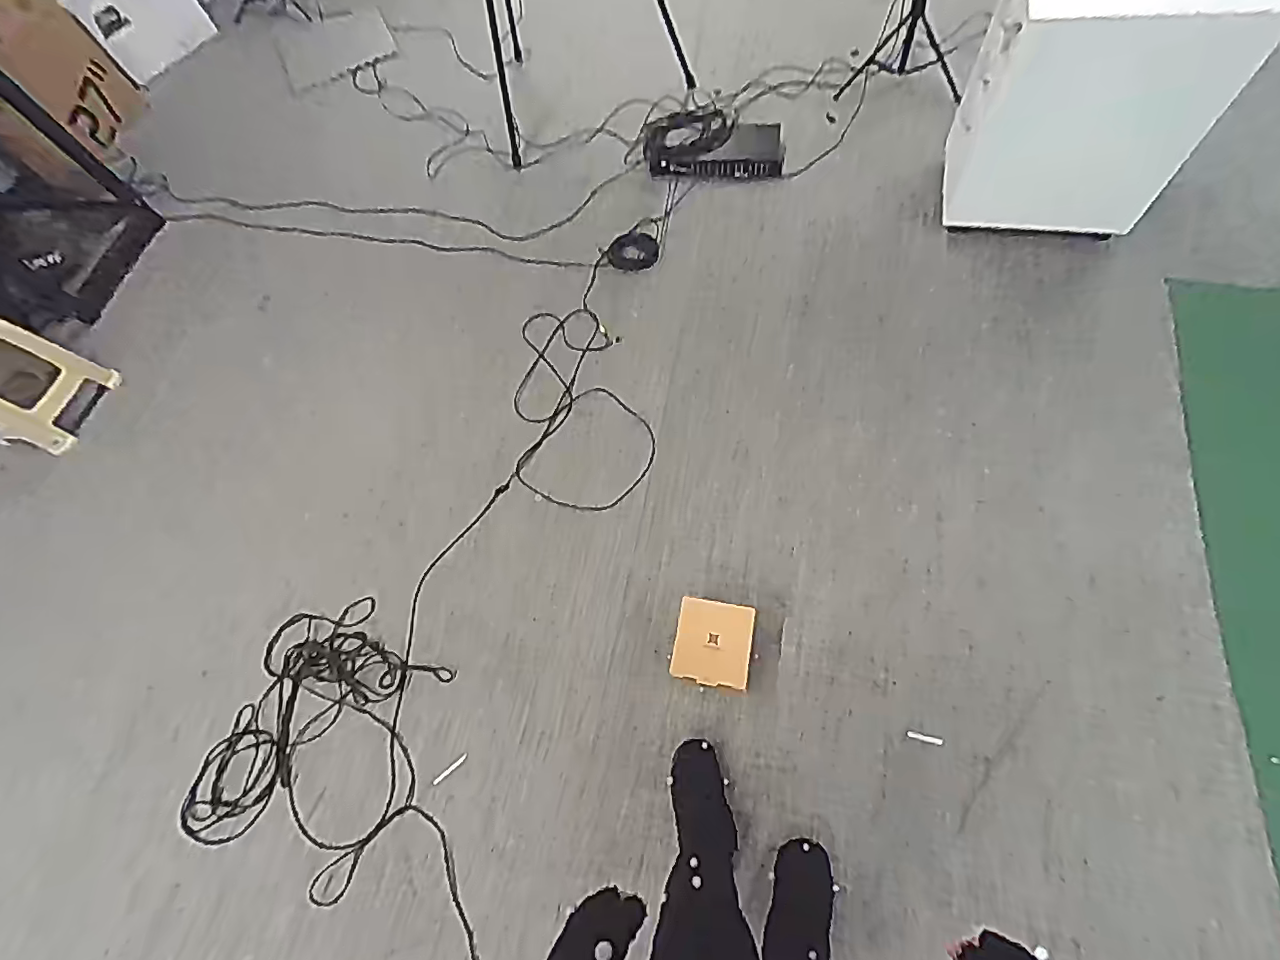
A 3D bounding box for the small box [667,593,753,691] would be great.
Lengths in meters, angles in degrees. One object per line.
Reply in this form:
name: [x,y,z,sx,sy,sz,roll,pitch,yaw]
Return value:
small box: [0.165,0.379,1.256,0.168,0.176,0.179,7,67,13]
